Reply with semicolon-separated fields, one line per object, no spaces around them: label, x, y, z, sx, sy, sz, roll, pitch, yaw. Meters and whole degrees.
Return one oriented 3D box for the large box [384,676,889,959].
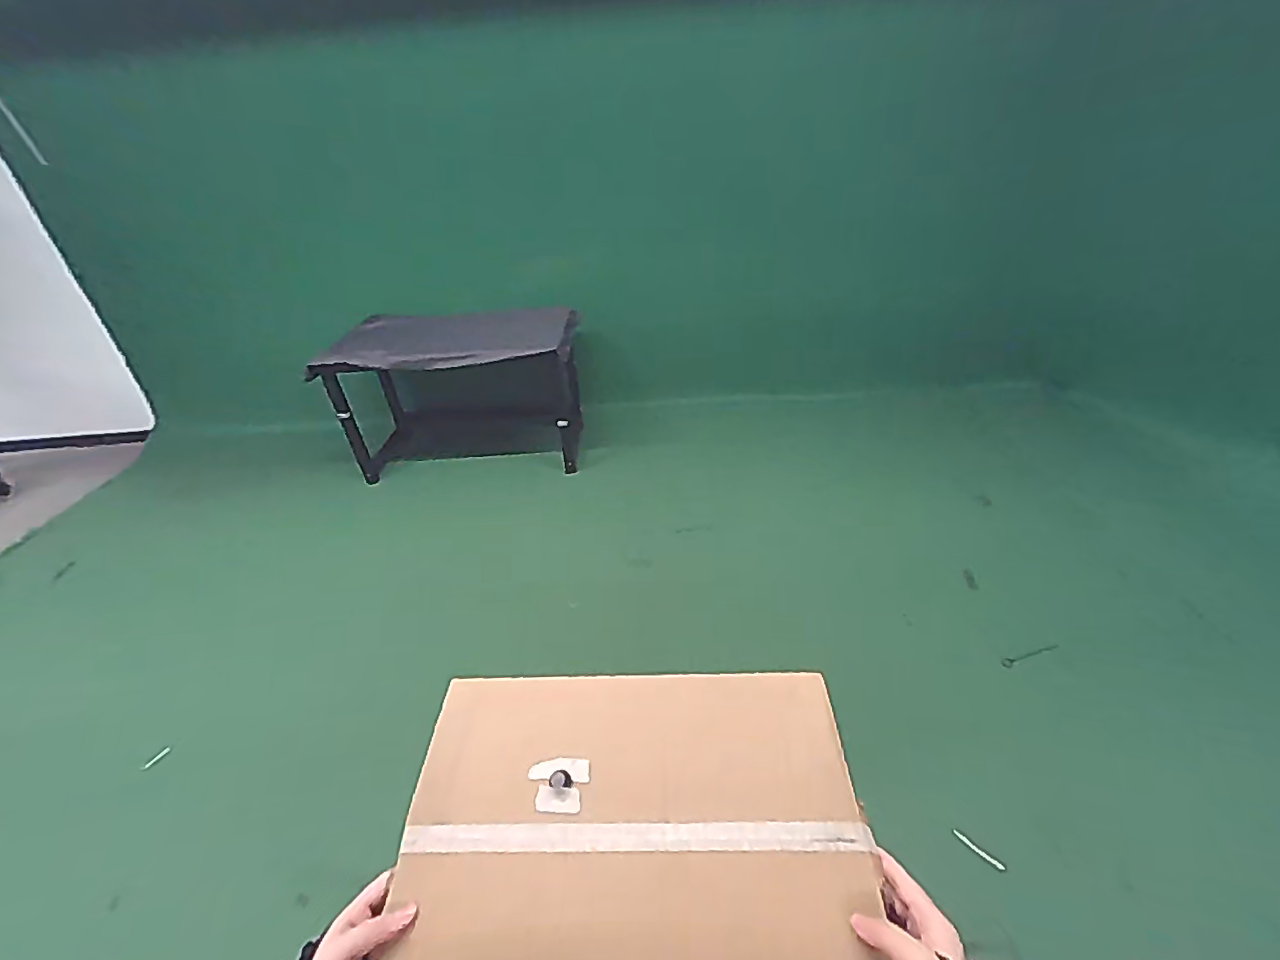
large box;0.006;0.438;0.577;0.408;0.320;0.320;-4;40;4
